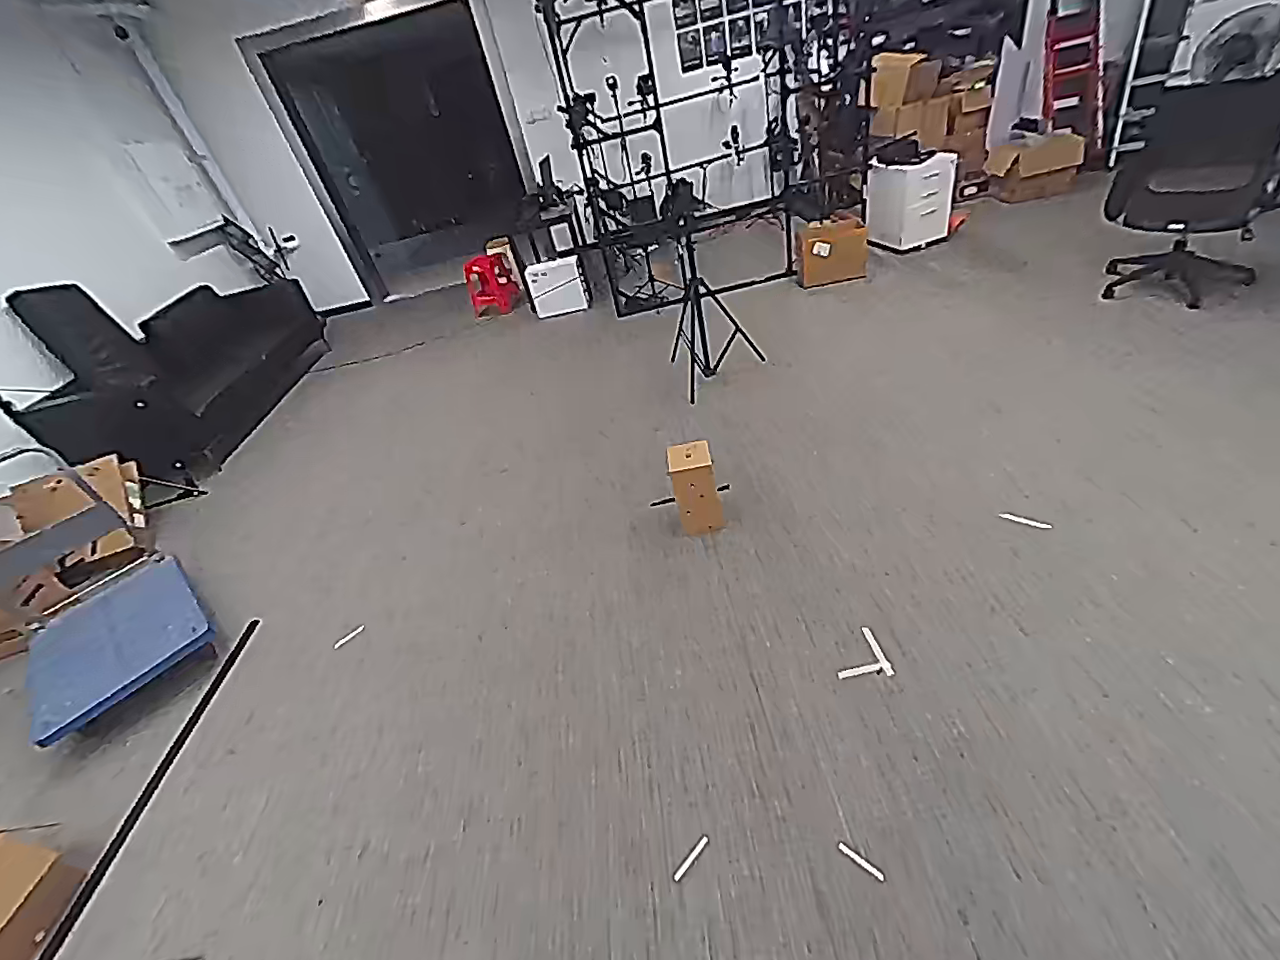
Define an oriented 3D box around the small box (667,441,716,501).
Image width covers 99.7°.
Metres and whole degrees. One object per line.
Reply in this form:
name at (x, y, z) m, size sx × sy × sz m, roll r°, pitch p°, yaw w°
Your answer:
small box at (0.205, -0.030, 2.155) m, size 0.168 × 0.176 × 0.179 m, roll -10°, pitch 36°, yaw 7°
